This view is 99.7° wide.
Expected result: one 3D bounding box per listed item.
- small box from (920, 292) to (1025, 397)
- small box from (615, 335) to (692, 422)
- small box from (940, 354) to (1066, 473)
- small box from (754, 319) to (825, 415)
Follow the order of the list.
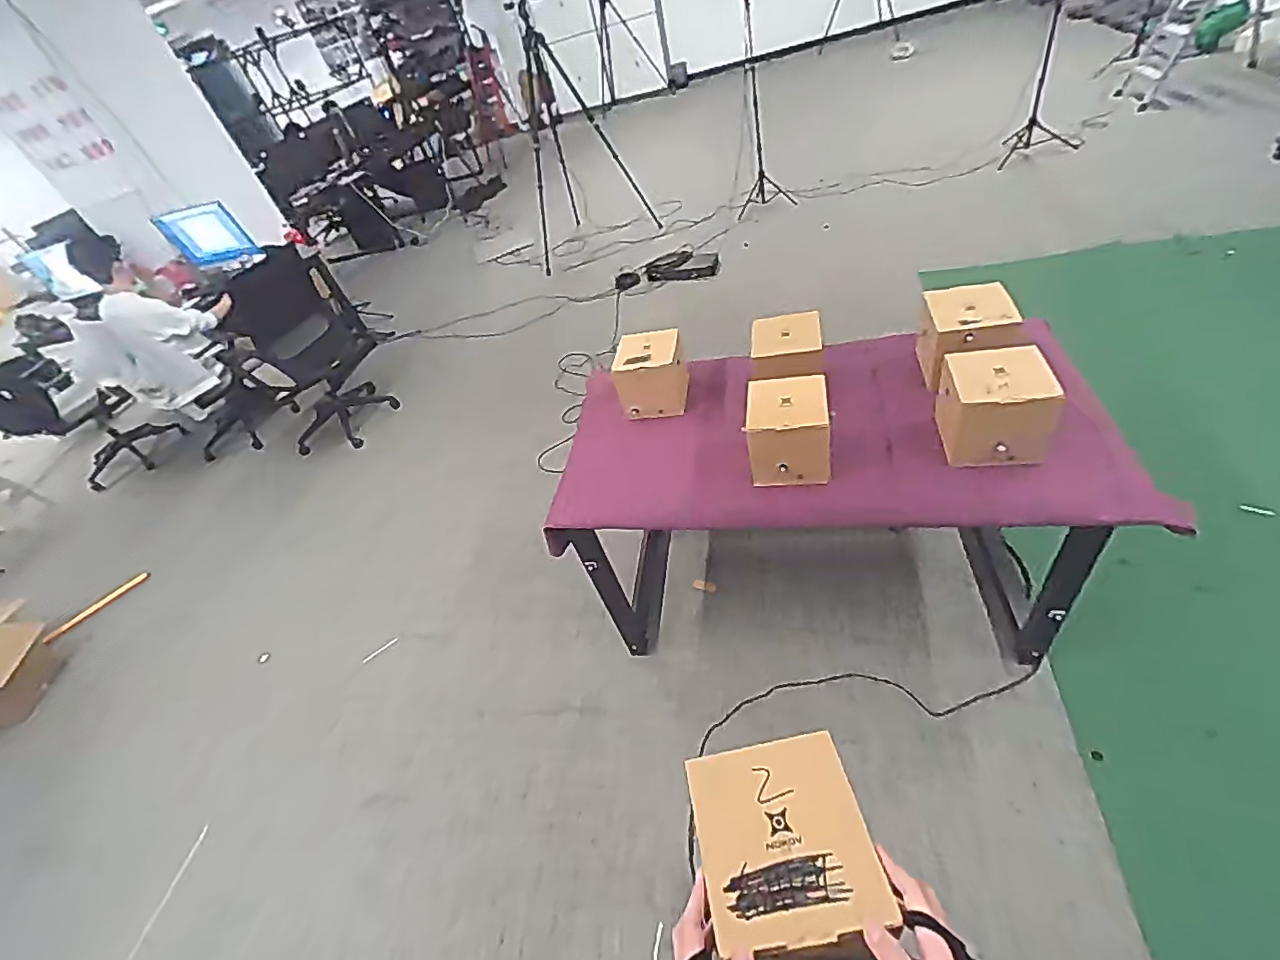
[{"bbox_3d":[0.772,-0.317,1.276,0.168,0.176,0.179,-4,45,18],"label":"small box"},{"bbox_3d":[0.044,-0.274,1.495,0.168,0.176,0.179,-3,44,16],"label":"small box"},{"bbox_3d":[0.721,-0.132,1.098,0.168,0.176,0.179,-3,43,19],"label":"small box"},{"bbox_3d":[0.387,-0.287,1.388,0.168,0.176,0.179,-3,45,18],"label":"small box"}]
